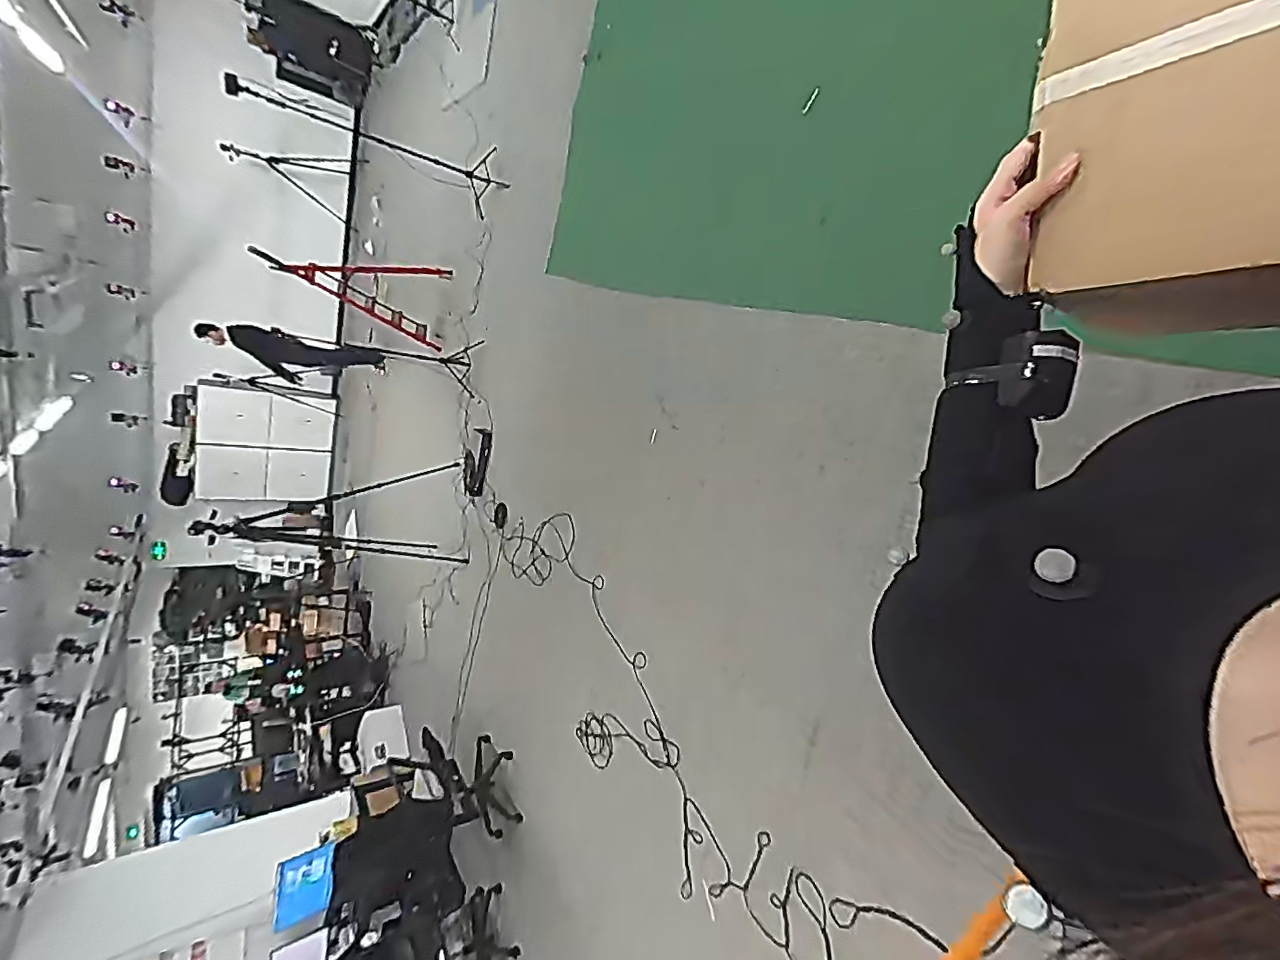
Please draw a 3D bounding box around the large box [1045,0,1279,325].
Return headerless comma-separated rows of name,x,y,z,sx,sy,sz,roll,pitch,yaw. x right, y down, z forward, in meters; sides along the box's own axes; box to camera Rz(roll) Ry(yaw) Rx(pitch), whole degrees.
large box,0.569,-0.307,0.376,0.408,0.320,0.320,8,100,48
